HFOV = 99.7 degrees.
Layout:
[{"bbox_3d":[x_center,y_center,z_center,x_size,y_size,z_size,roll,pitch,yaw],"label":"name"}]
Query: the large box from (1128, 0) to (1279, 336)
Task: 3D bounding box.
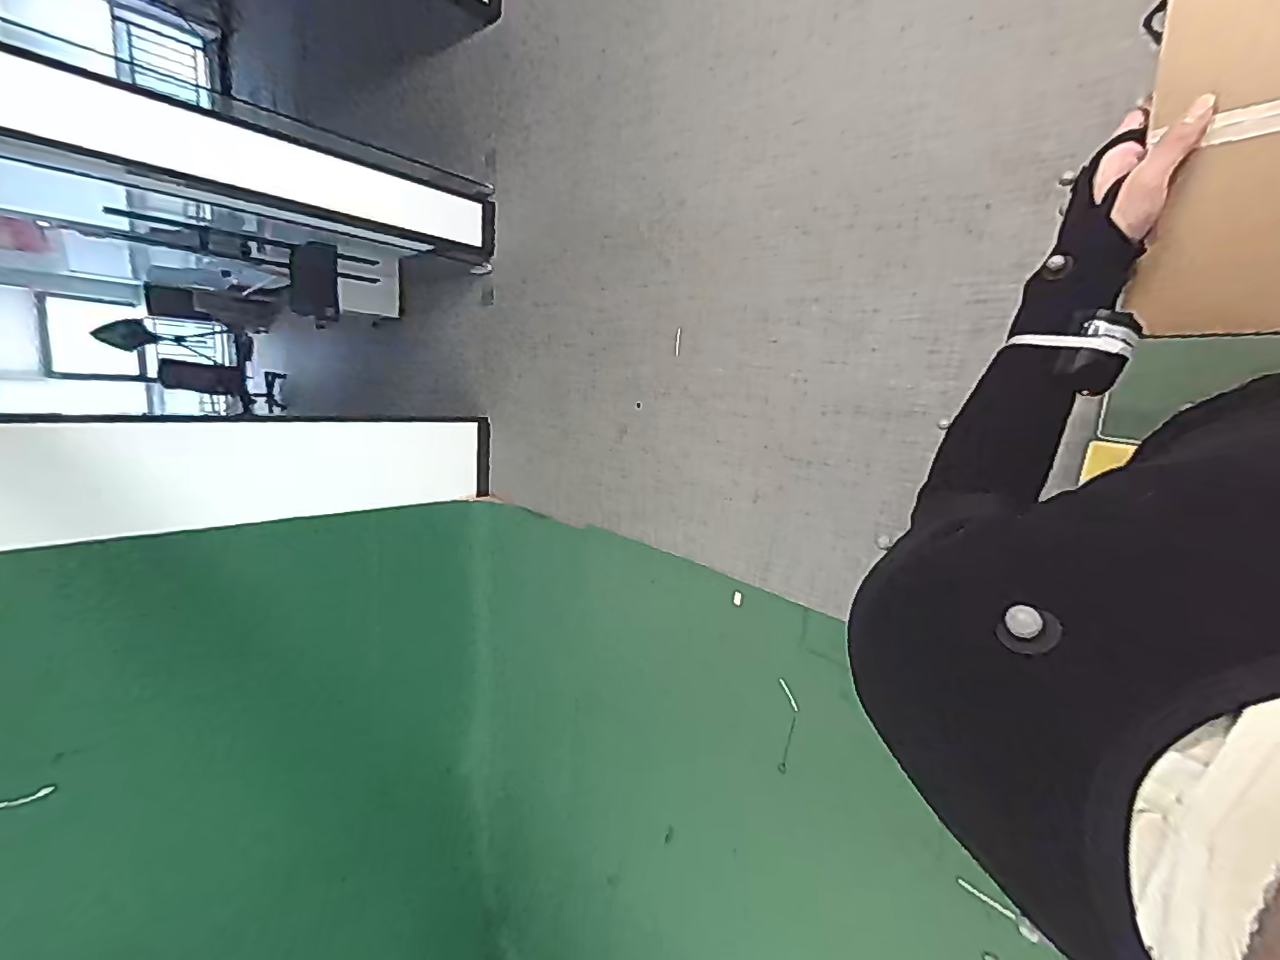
[{"bbox_3d":[0.673,-0.288,0.413,0.408,0.320,0.320,11,110,46],"label":"large box"}]
